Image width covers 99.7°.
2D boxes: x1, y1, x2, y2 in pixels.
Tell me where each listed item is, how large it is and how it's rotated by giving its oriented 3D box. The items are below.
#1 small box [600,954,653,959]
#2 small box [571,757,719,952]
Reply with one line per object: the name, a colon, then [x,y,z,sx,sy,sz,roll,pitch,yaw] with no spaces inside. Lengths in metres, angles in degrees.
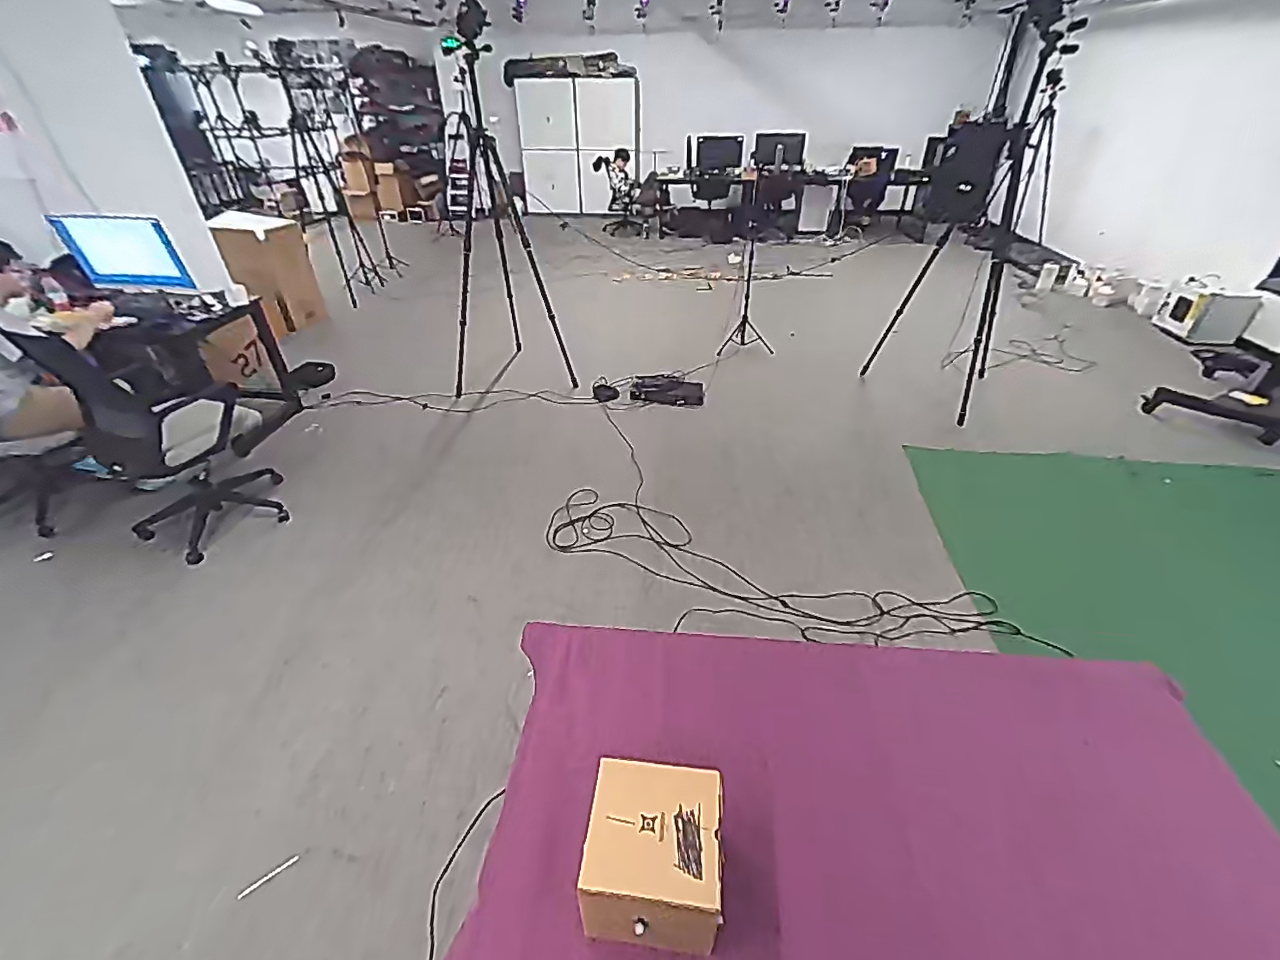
small box: [-0.005,1.138,1.138,0.179,0.176,0.168,2,35,5]
small box: [0.015,0.518,0.750,0.179,0.176,0.168,3,34,8]
